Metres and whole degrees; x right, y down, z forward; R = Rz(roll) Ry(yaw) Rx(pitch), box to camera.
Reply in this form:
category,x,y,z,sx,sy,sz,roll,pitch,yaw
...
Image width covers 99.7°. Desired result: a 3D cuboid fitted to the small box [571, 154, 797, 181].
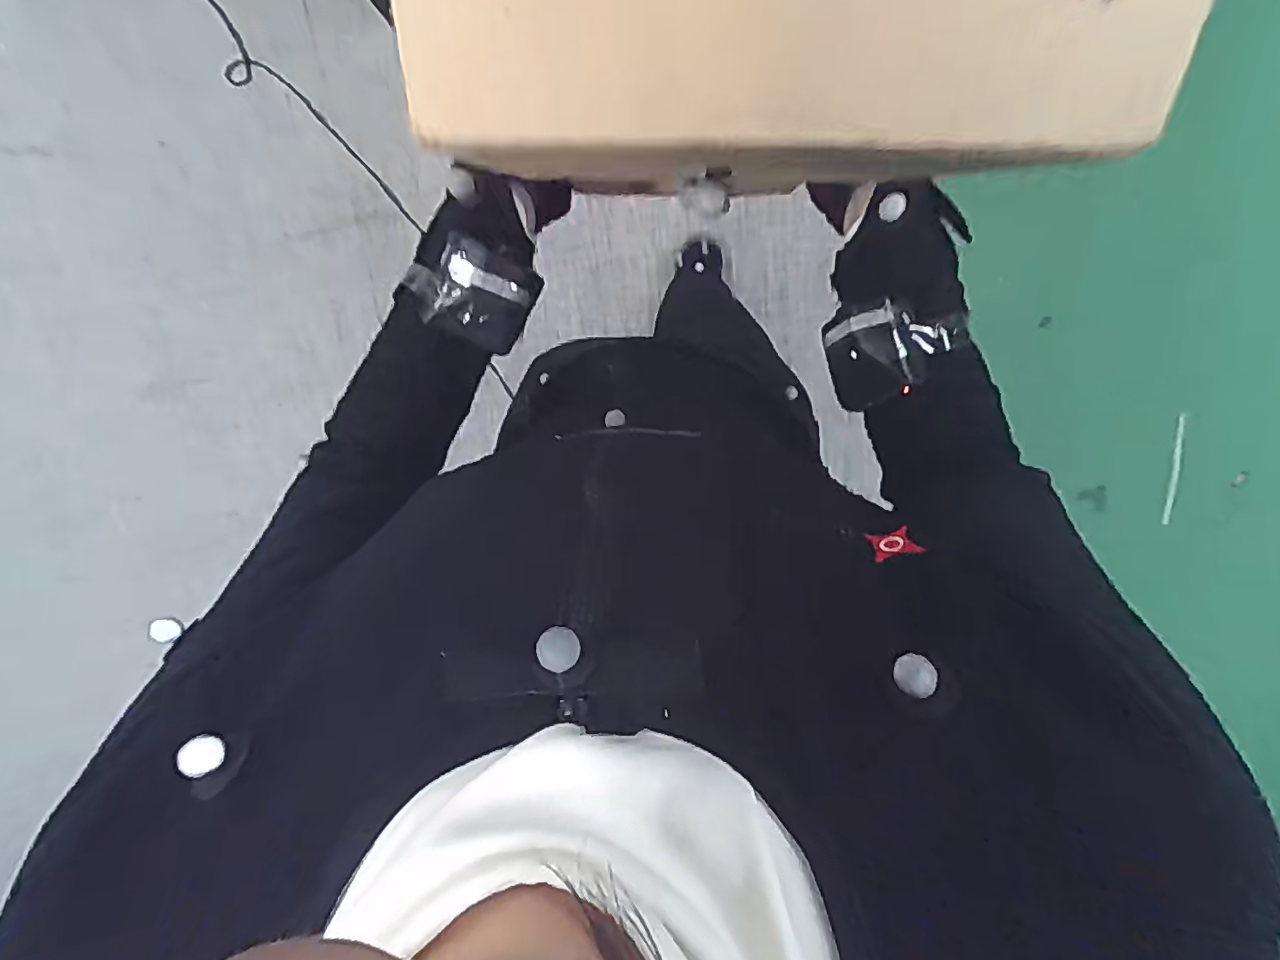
category,x,y,z,sx,sy,sz,roll,pitch,yaw
small box,0.032,-0.348,0.450,0.179,0.176,0.168,-1,117,1
